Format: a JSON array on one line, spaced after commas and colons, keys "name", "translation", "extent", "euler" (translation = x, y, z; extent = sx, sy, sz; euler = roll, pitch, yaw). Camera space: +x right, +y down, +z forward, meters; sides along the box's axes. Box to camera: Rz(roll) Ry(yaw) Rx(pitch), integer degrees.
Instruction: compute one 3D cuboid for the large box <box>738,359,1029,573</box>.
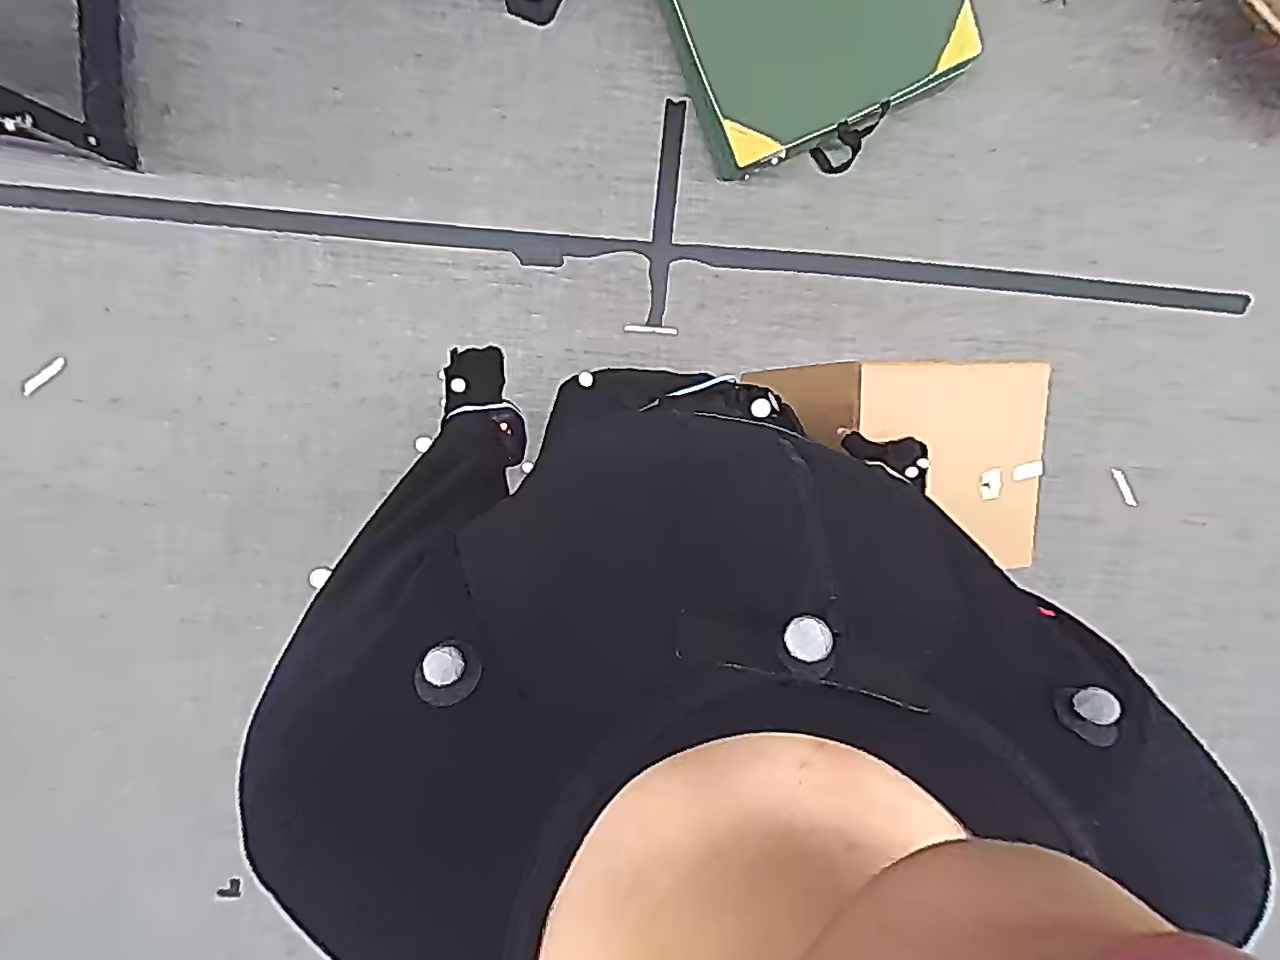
[{"name": "large box", "translation": [0.401, -0.048, 0.982], "extent": [0.320, 0.408, 0.320], "euler": [-2, 100, -11]}]
